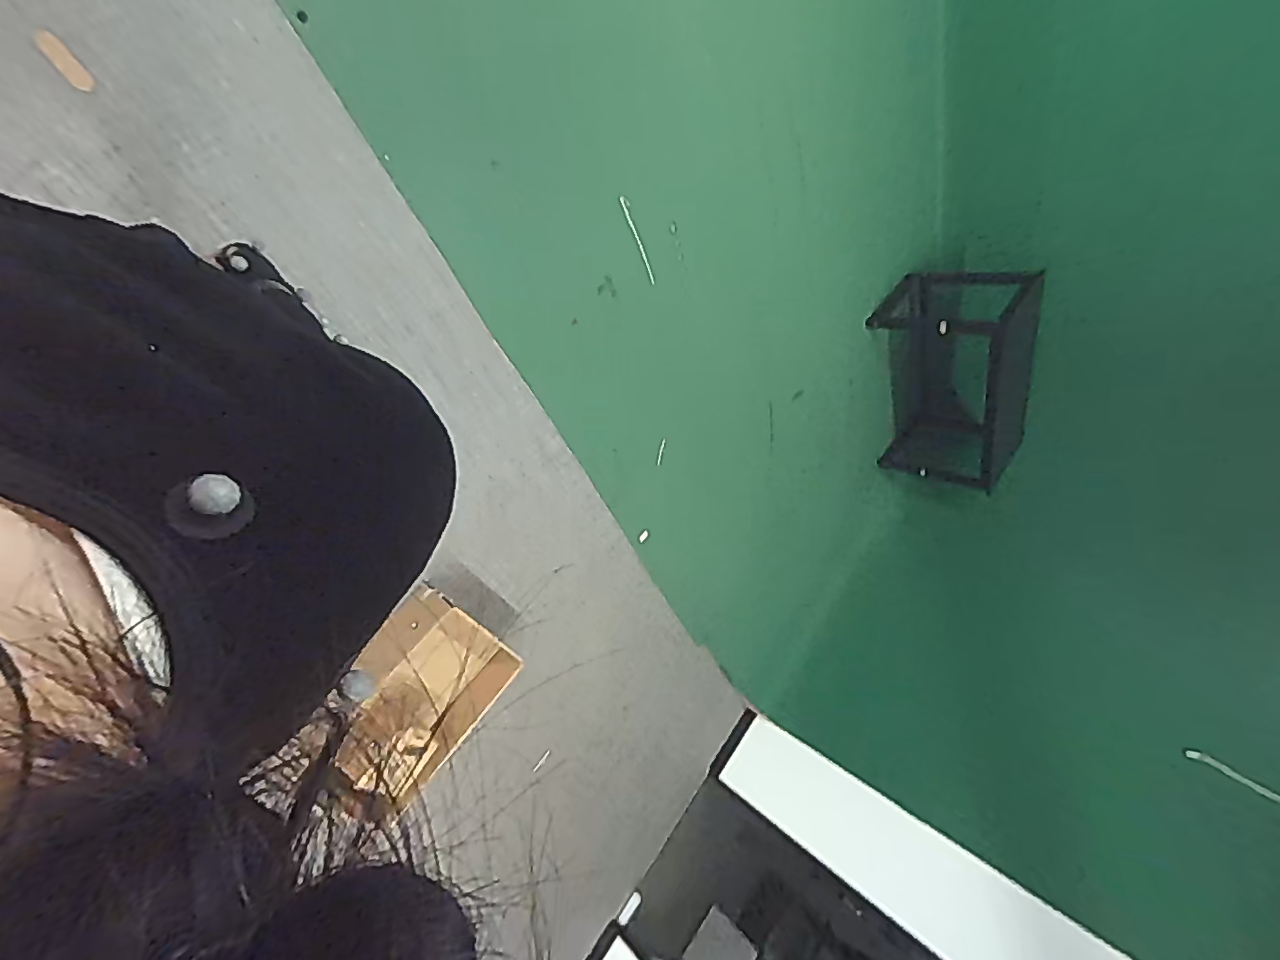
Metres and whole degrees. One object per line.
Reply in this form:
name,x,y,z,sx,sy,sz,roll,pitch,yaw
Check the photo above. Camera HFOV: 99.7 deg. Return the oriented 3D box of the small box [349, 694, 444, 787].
small box,-0.733,0.776,1.620,0.179,0.176,0.168,-54,134,-14
